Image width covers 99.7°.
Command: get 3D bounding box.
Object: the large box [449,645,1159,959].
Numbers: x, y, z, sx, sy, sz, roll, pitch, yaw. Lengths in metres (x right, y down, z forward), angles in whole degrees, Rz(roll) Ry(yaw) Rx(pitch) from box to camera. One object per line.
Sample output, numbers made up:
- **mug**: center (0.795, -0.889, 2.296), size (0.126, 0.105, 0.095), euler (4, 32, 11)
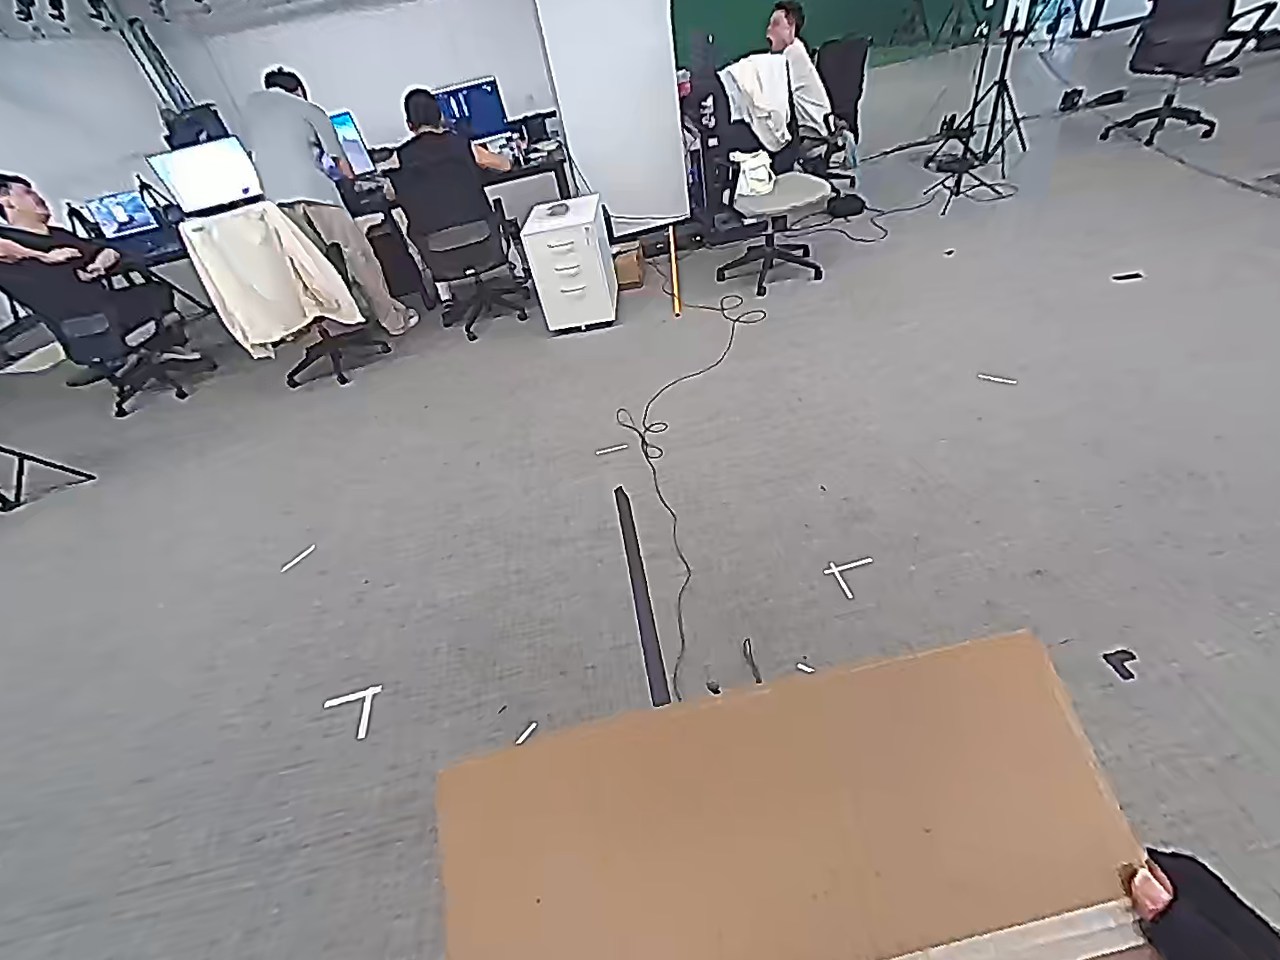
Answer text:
- **large box**: center (0.109, 0.348, 0.451), size (0.408, 0.320, 0.320), euler (-13, 69, -2)
